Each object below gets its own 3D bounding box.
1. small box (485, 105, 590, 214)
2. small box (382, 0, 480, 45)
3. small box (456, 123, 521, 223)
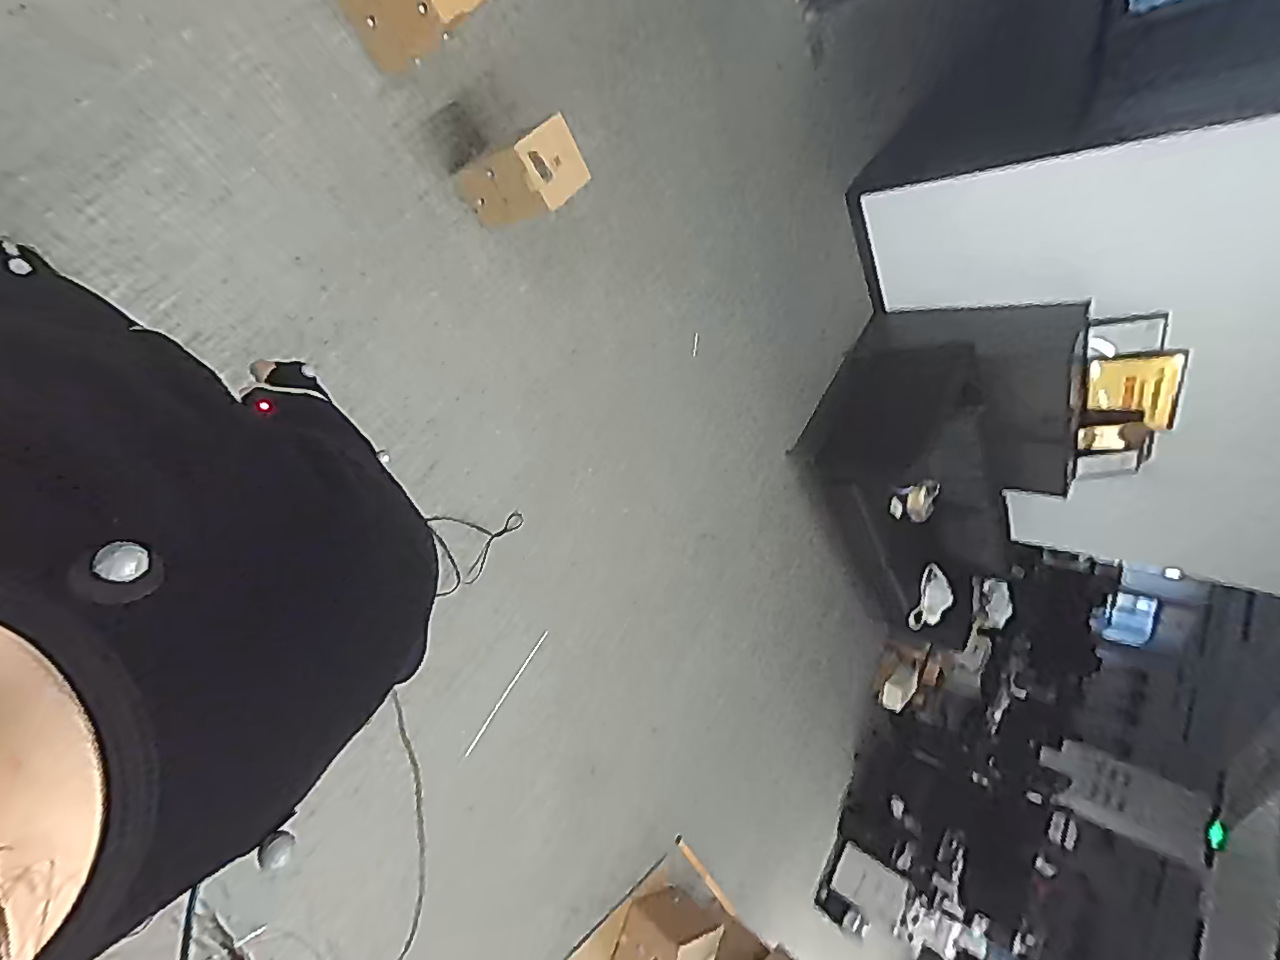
[{"bbox_3d":[-0.268,-0.808,1.380,0.179,0.176,0.168,-54,132,-23],"label":"small box"},{"bbox_3d":[-0.451,-1.067,1.127,0.168,0.176,0.179,-53,132,-23],"label":"small box"},{"bbox_3d":[-0.381,-0.840,1.496,0.179,0.176,0.168,-54,133,-21],"label":"small box"}]
